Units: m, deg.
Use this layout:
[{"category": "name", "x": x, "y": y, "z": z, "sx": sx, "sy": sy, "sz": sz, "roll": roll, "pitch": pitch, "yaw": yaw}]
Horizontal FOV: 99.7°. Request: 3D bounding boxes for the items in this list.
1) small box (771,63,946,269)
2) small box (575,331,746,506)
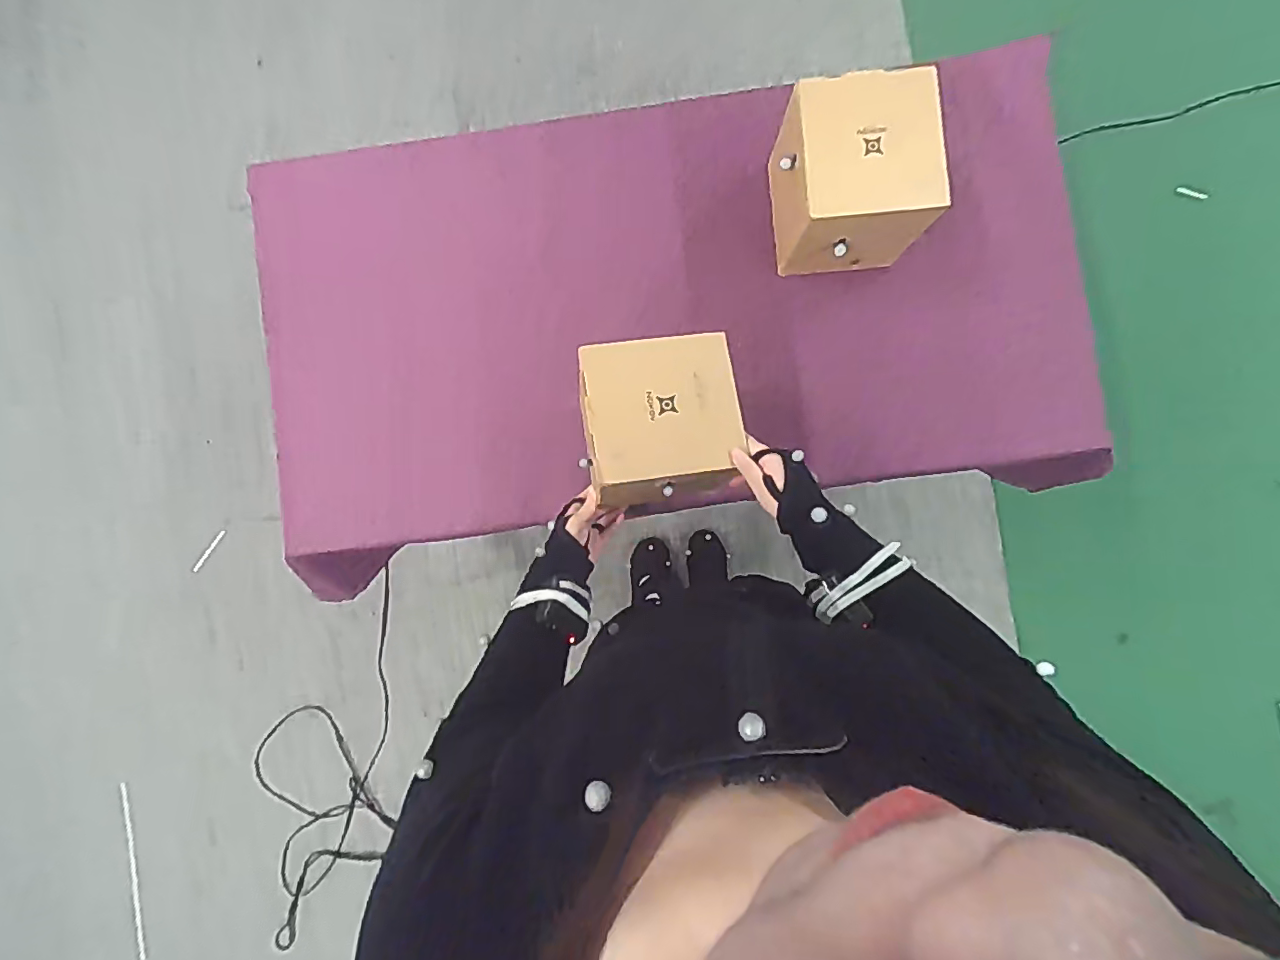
[{"category": "small box", "x": 0.275, "y": -0.396, "z": 0.716, "sx": 0.168, "sy": 0.176, "sz": 0.179, "roll": -4, "pitch": 86, "yaw": 2}, {"category": "small box", "x": 0.017, "y": -0.068, "z": 0.684, "sx": 0.179, "sy": 0.176, "sz": 0.168, "roll": -7, "pitch": 78, "yaw": -6}]
